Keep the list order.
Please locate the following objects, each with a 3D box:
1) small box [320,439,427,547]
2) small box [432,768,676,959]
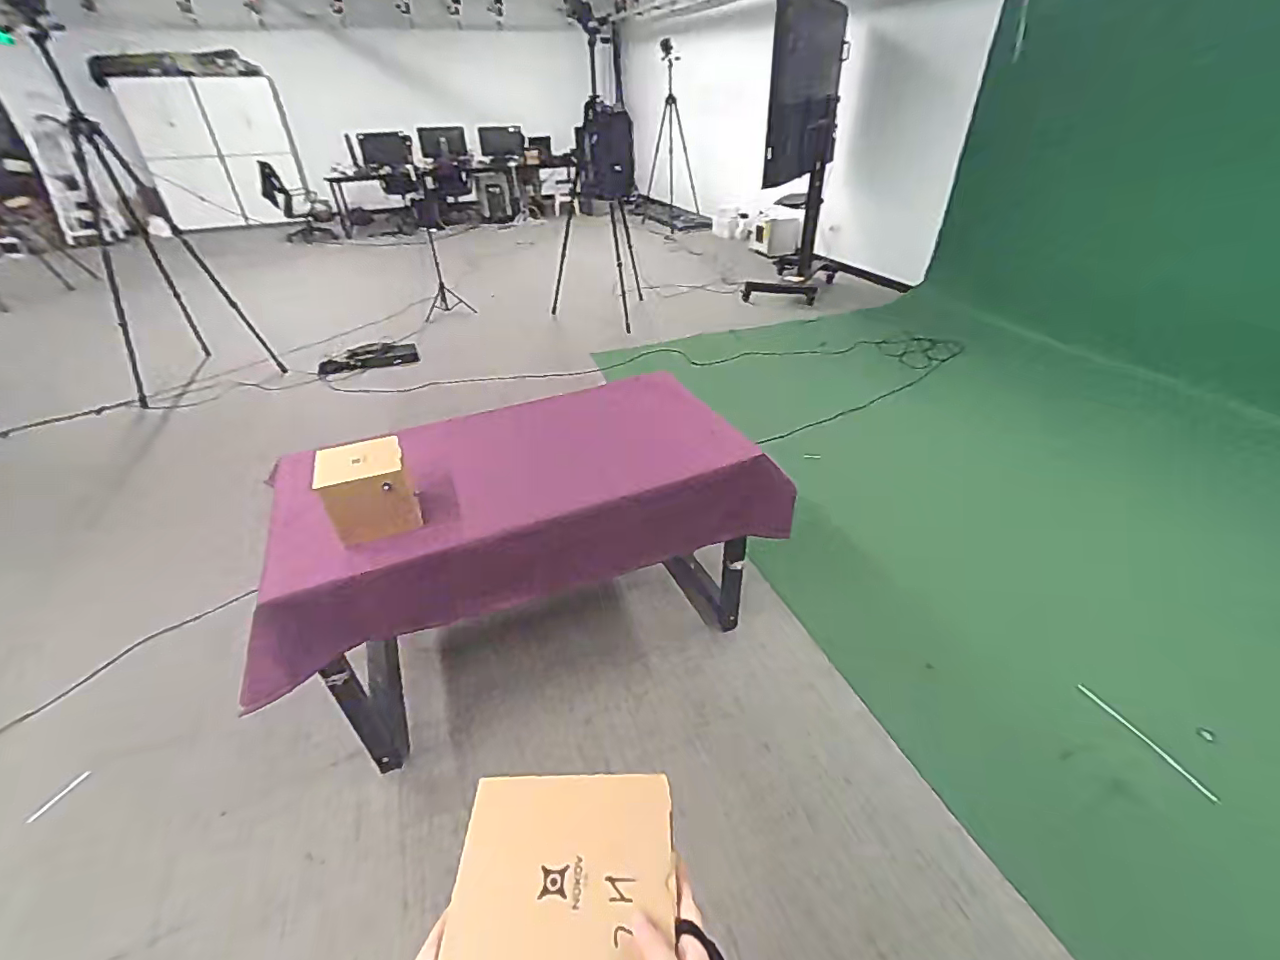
[{"bbox_3d":[-0.607,0.031,1.246,0.179,0.176,0.168,-15,37,-18],"label":"small box"},{"bbox_3d":[-0.059,0.378,0.475,0.179,0.176,0.168,-2,36,2],"label":"small box"}]
